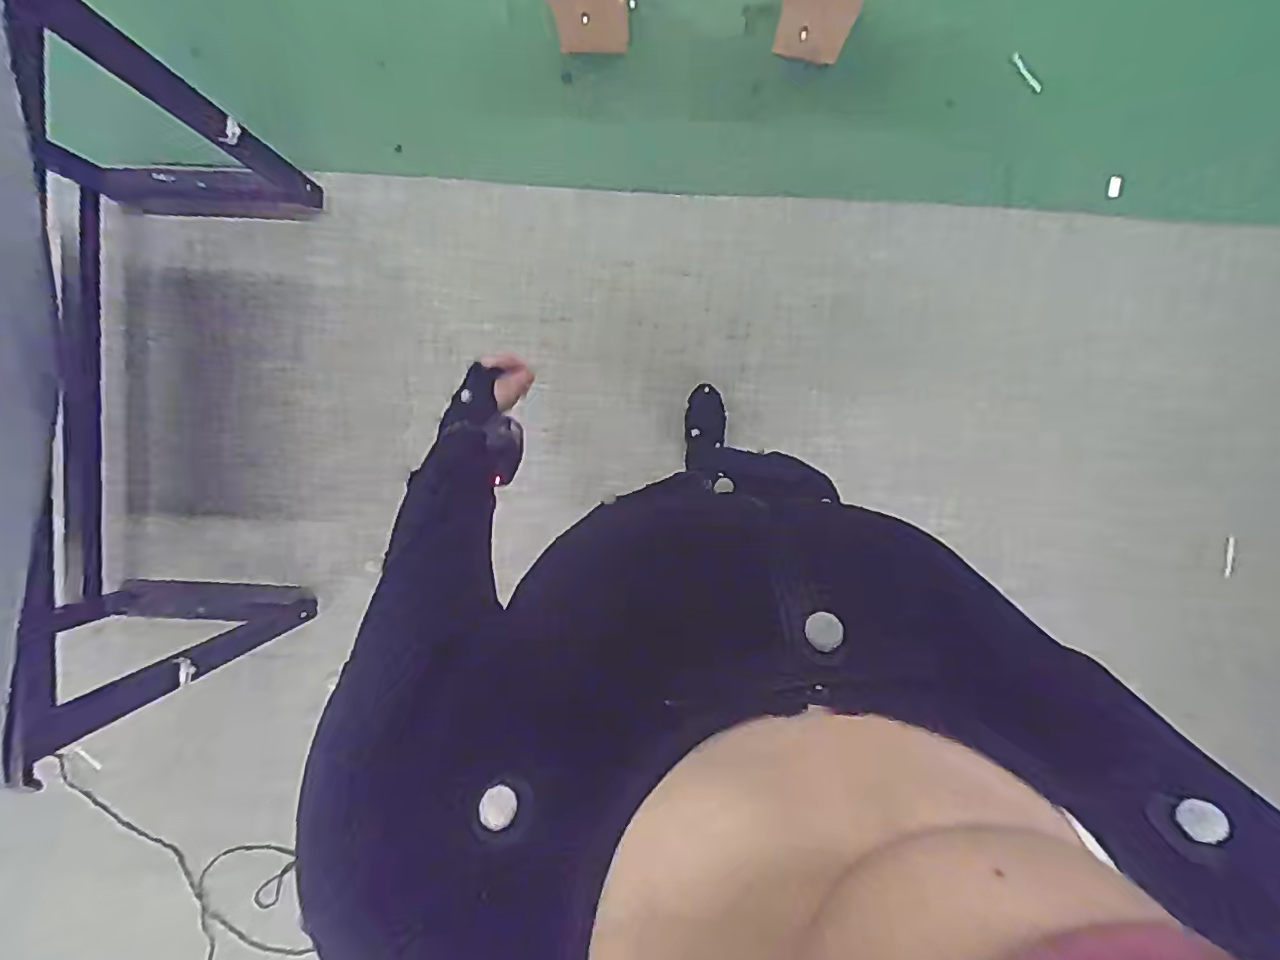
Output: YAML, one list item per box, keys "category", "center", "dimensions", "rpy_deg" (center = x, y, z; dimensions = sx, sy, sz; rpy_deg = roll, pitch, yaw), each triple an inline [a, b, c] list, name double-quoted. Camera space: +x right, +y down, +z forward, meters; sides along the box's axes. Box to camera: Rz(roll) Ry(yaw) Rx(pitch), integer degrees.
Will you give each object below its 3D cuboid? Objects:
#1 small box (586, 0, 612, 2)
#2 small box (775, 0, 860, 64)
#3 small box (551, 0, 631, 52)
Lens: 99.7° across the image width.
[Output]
- category: "small box"
  center: [-0.129, -1.179, 1.160]
  dimensions: [0.179, 0.176, 0.168]
  rpy_deg: [5, 95, 0]
- category: "small box"
  center: [0.439, -1.168, 1.319]
  dimensions: [0.168, 0.176, 0.179]
  rpy_deg: [11, 94, 0]
- category: "small box"
  center: [-0.115, -1.189, 1.321]
  dimensions: [0.179, 0.176, 0.168]
  rpy_deg: [3, 95, 1]
